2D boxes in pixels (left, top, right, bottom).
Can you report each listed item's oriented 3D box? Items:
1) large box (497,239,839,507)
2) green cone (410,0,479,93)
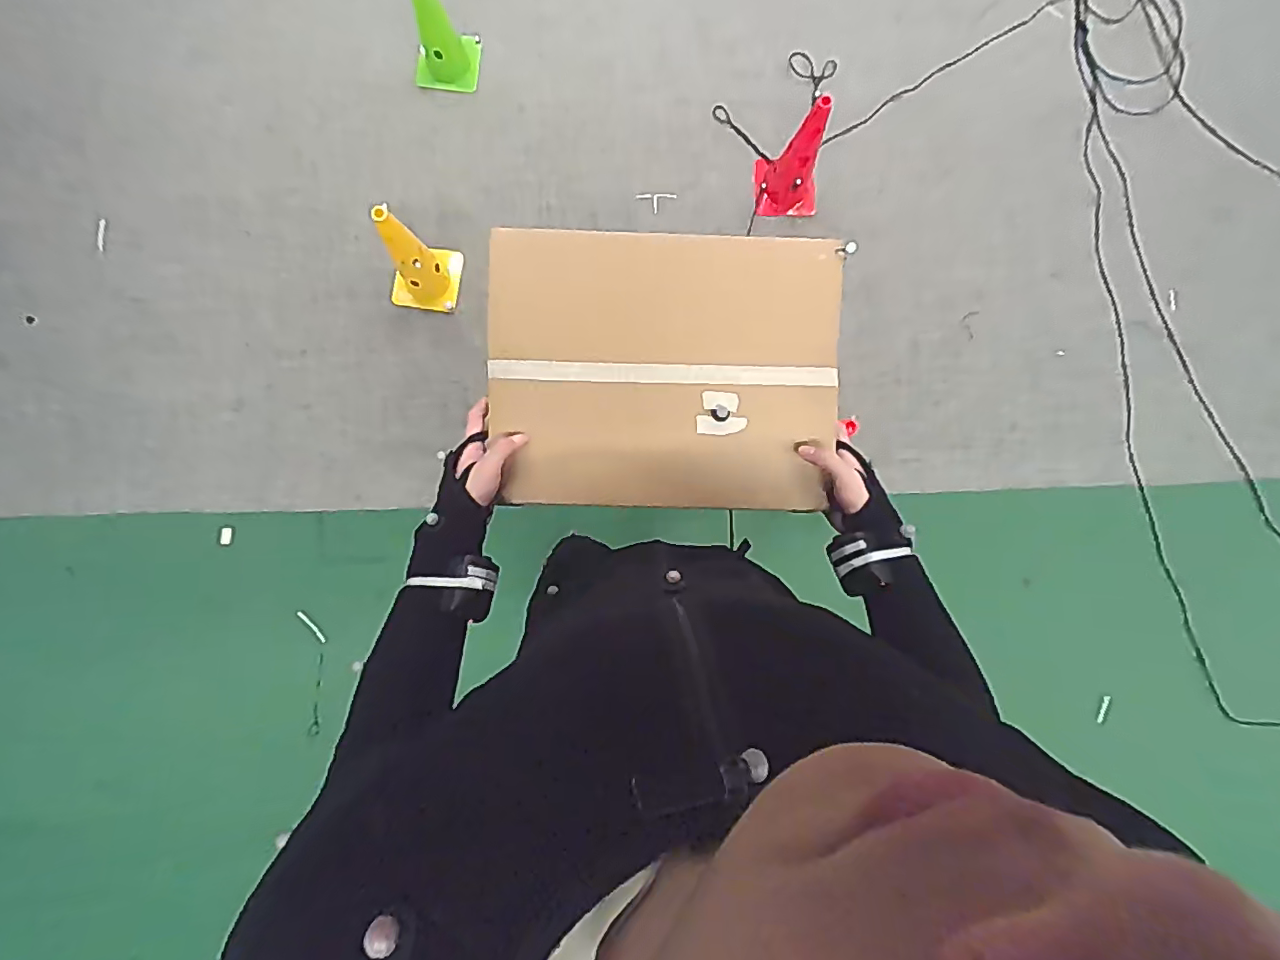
[{"bbox_3d":[0.028,-0.133,0.783,0.408,0.320,0.320,1,95,-2],"label":"large box"},{"bbox_3d":[-0.633,-1.391,1.610,0.200,0.368,0.202,4,85,-1],"label":"green cone"}]
